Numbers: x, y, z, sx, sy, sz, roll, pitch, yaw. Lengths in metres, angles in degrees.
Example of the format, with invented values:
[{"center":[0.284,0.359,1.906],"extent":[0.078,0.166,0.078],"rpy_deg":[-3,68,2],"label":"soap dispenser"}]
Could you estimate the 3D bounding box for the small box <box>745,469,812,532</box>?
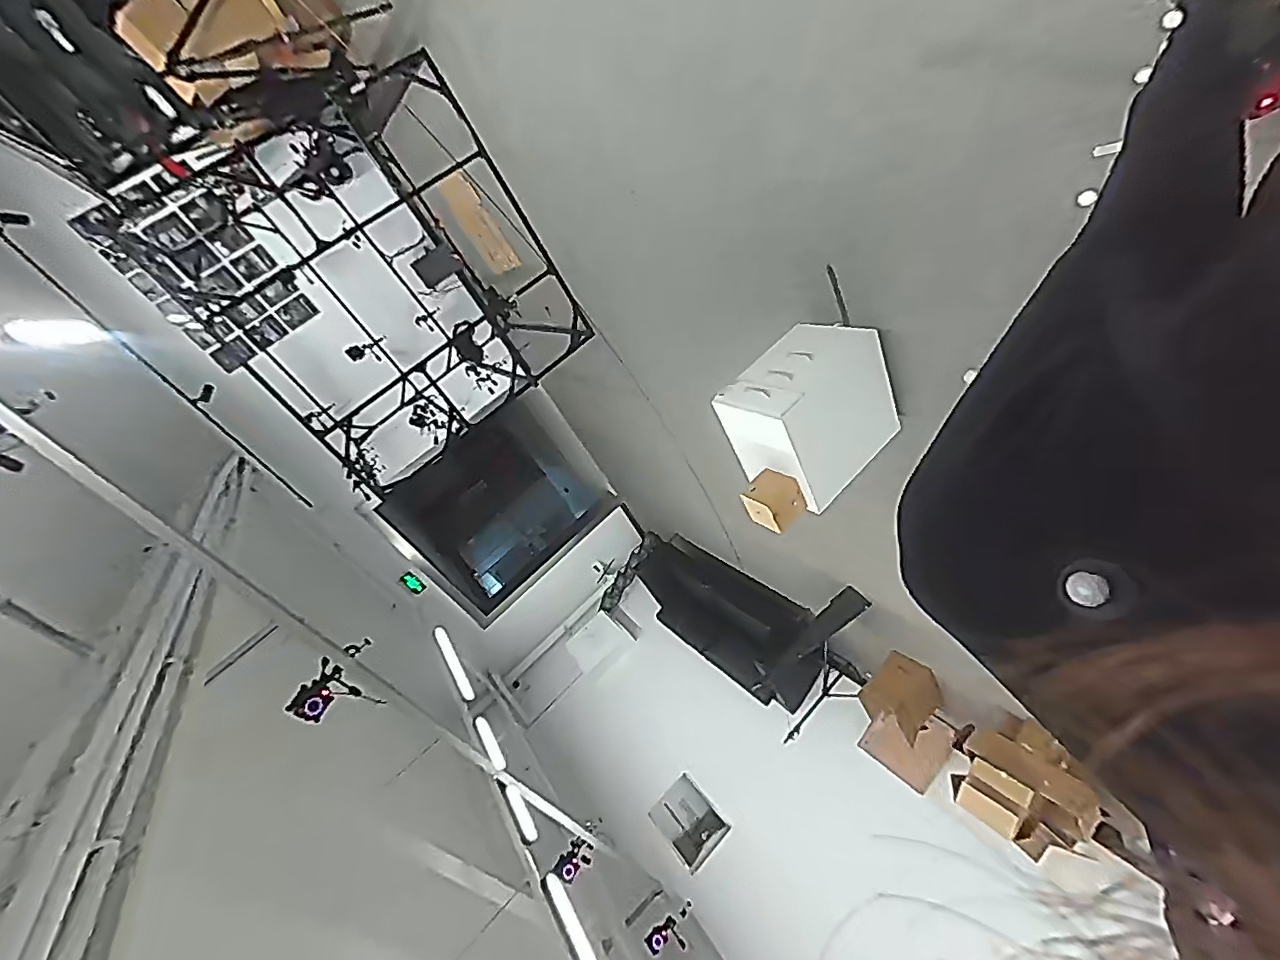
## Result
[{"center":[0.572,0.077,2.224],"extent":[0.179,0.176,0.168],"rpy_deg":[29,157,55],"label":"small box"}]
